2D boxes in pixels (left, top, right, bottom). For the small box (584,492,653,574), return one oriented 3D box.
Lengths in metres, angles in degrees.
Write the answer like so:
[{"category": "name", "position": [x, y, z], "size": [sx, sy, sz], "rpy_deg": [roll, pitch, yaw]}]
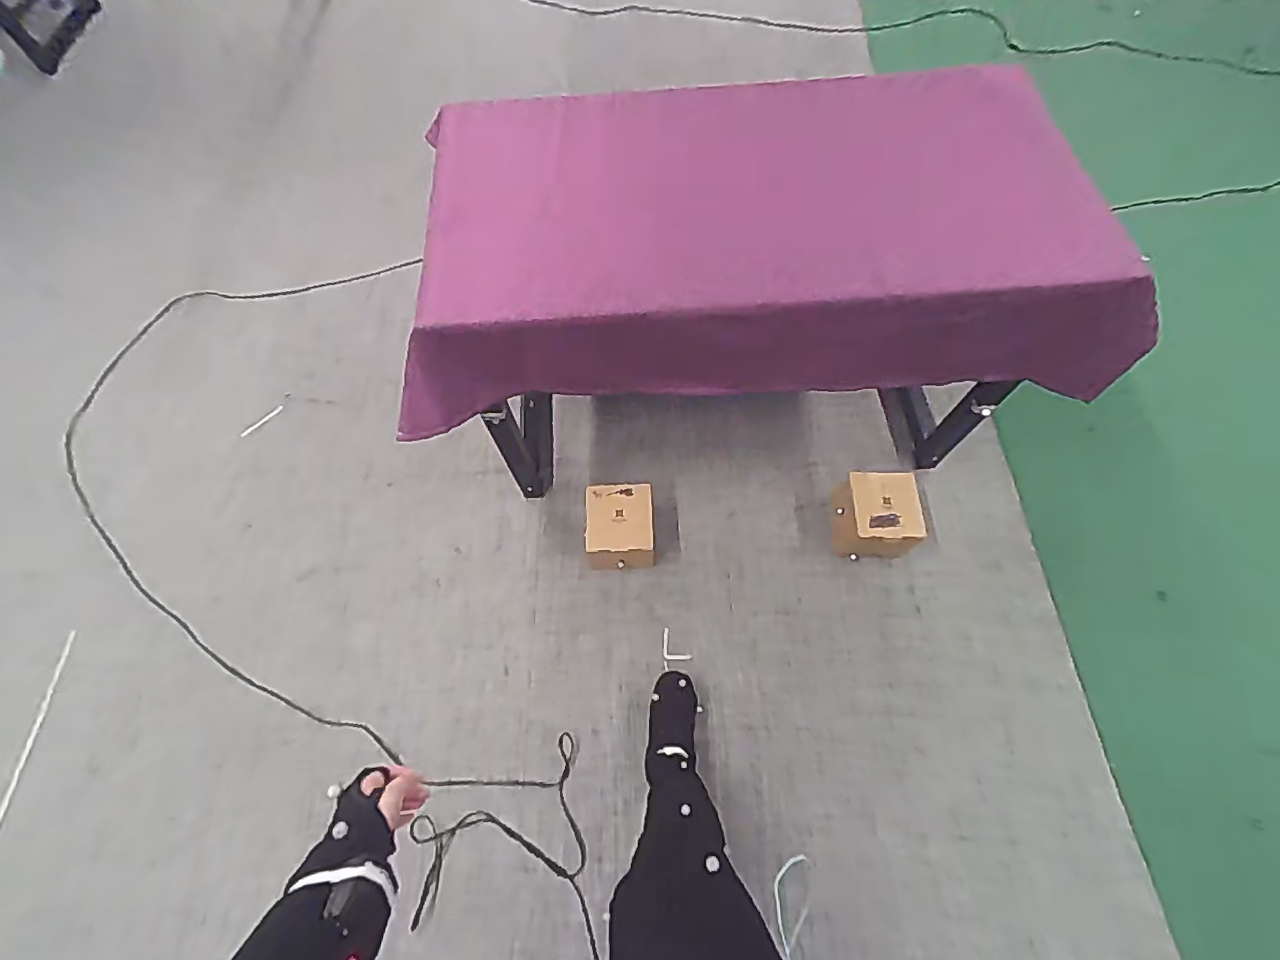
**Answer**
[{"category": "small box", "position": [-0.053, 0.145, 1.410], "size": [0.168, 0.176, 0.179], "rpy_deg": [-2, 65, 1]}]
